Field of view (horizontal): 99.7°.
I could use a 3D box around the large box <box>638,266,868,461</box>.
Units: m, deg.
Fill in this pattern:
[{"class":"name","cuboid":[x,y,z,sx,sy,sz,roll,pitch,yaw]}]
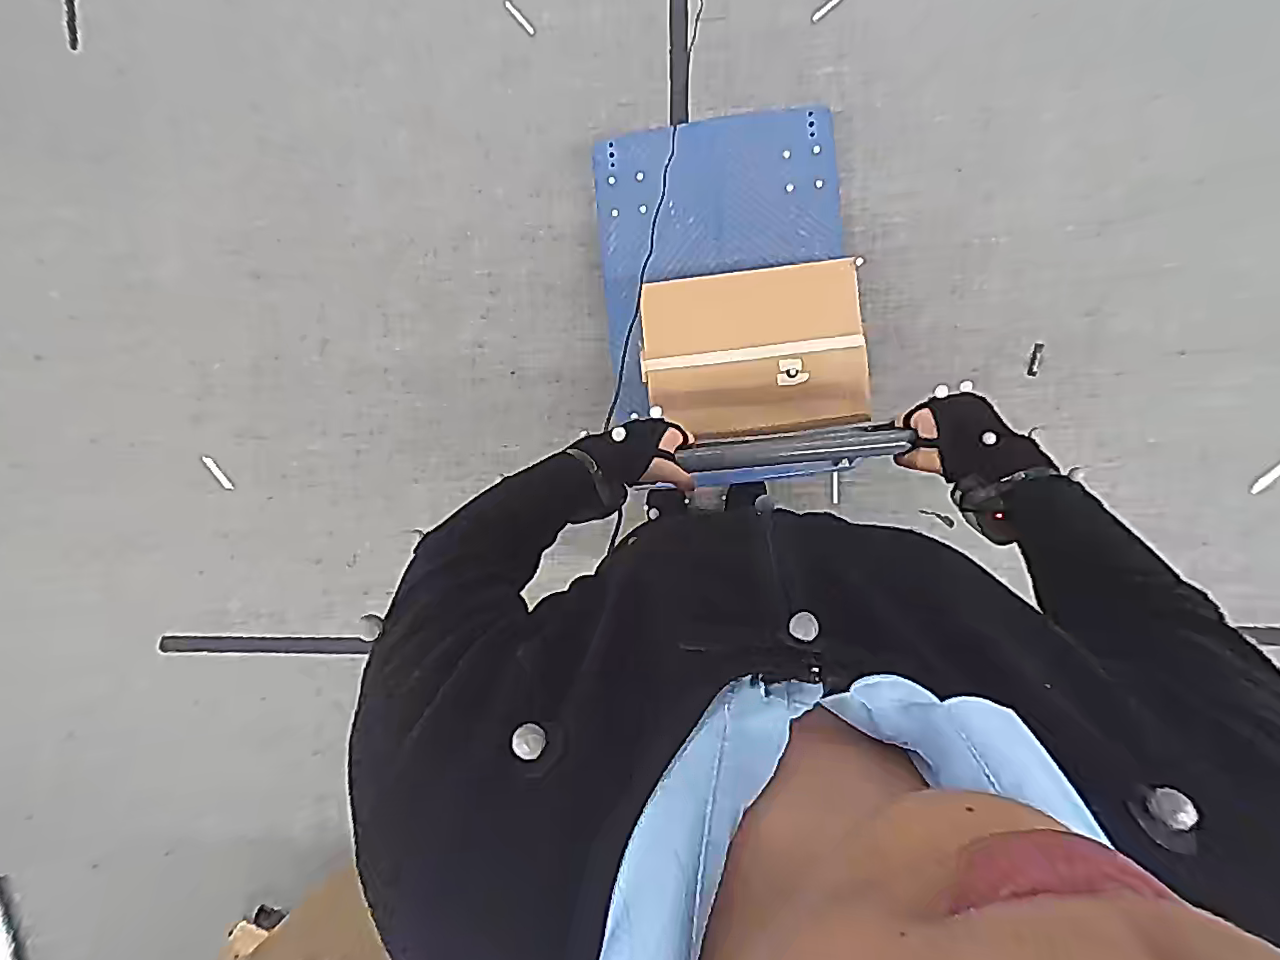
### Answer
[{"class":"large box","cuboid":[0.218,-0.220,1.157,0.408,0.320,0.320,-6,90,5]}]
